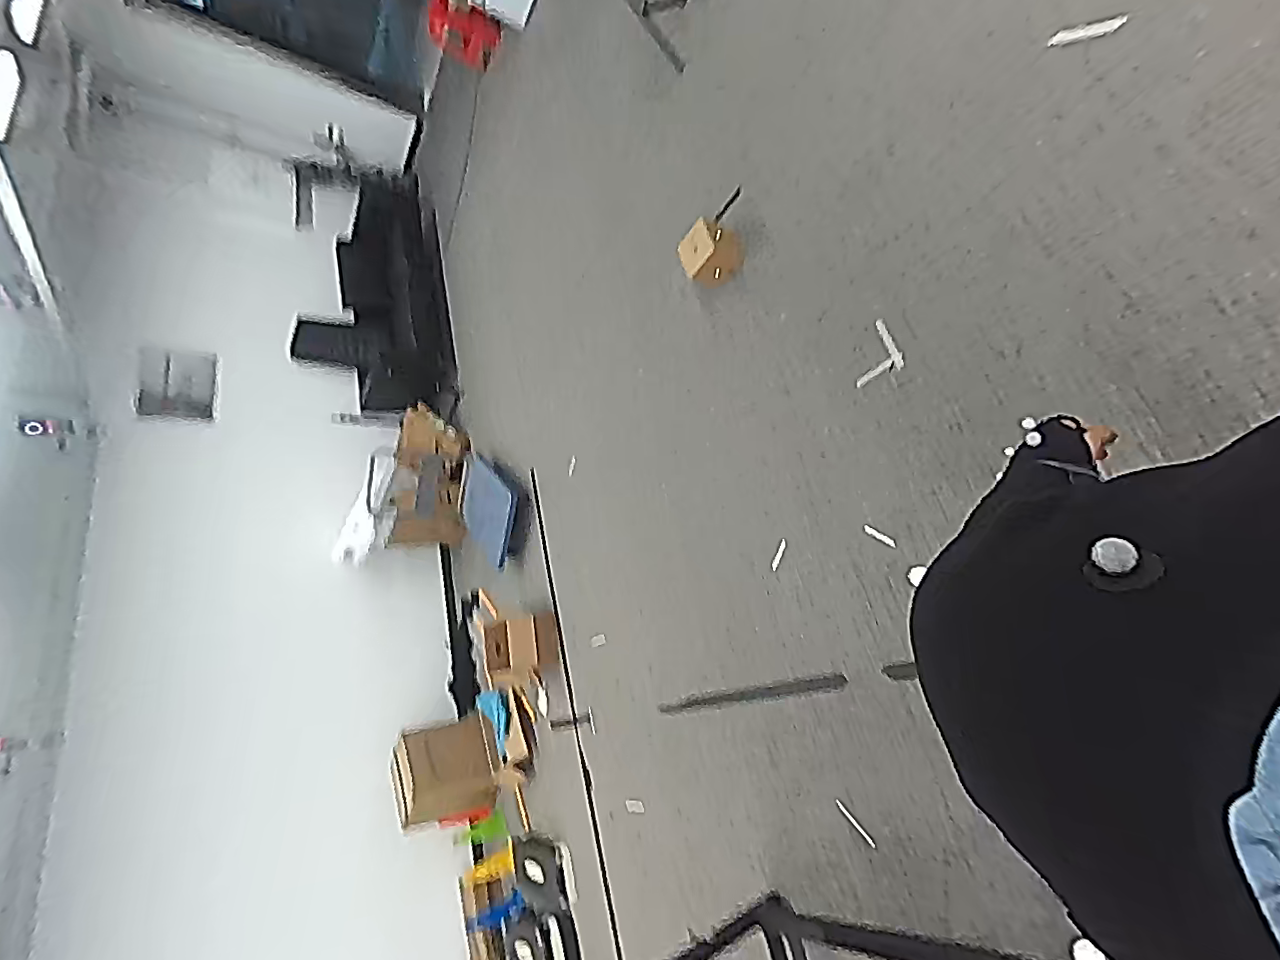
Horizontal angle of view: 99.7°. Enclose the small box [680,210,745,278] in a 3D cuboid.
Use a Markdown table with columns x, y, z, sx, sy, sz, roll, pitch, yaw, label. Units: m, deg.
| x | y | z | sx | sy | sz | roll | pitch | yaw | label |
| --- | --- | --- | --- | --- | --- | --- | --- | --- | --- |
| 0.289 | -0.926 | 2.141 | 0.168 | 0.176 | 0.179 | -40 | 58 | 46 | small box |
